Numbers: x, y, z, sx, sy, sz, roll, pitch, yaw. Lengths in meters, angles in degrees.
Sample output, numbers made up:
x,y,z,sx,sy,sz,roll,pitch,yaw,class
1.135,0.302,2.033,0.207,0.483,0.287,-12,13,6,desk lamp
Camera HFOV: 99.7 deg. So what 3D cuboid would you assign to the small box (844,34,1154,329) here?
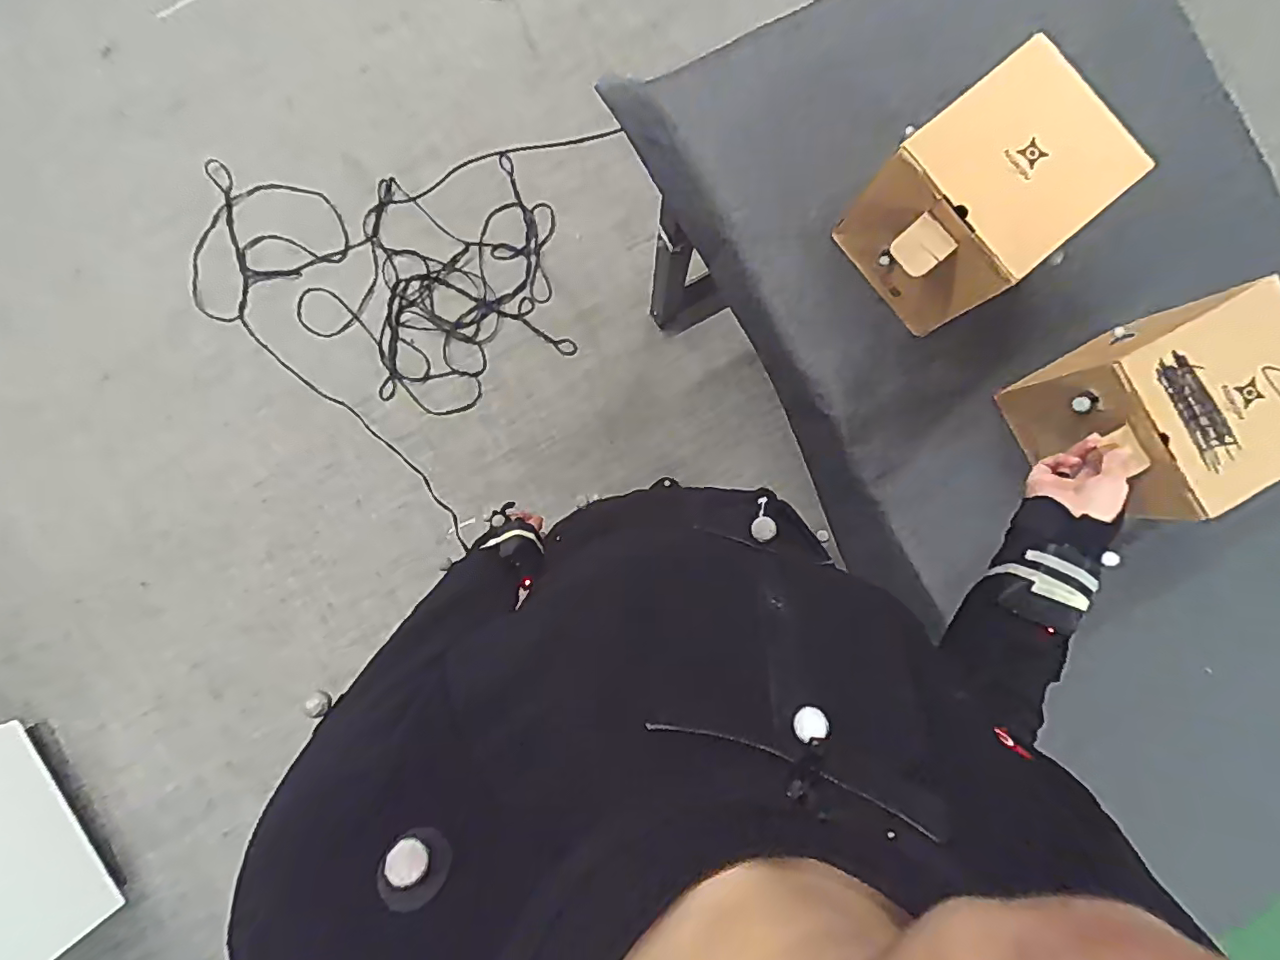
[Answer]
x,y,z,sx,sy,sz,roll,pitch,yaw,class
0.355,-0.293,0.572,0.179,0.176,0.168,-40,90,-2,small box
